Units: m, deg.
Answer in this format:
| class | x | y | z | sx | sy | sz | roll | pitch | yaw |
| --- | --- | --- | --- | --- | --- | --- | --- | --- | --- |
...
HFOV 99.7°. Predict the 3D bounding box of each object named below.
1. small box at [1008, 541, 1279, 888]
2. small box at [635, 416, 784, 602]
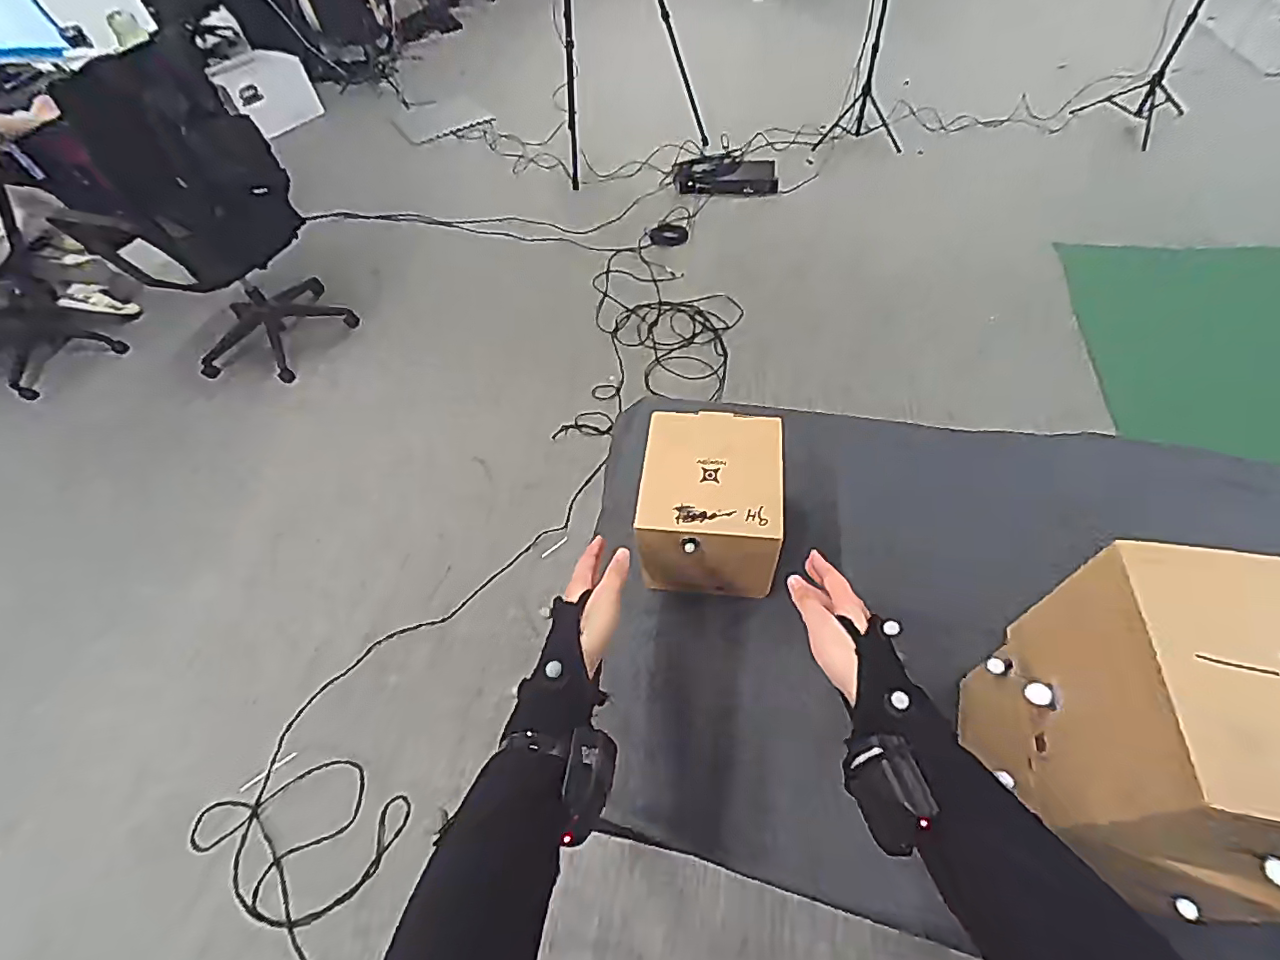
| class | x | y | z | sx | sy | sz | roll | pitch | yaw |
| --- | --- | --- | --- | --- | --- | --- | --- | --- | --- |
| small box | 0.393 | 0.164 | 0.369 | 0.179 | 0.176 | 0.168 | 6 | 54 | 12 |
| small box | 0.093 | 0.039 | 0.706 | 0.168 | 0.176 | 0.179 | 4 | 57 | 9 |
